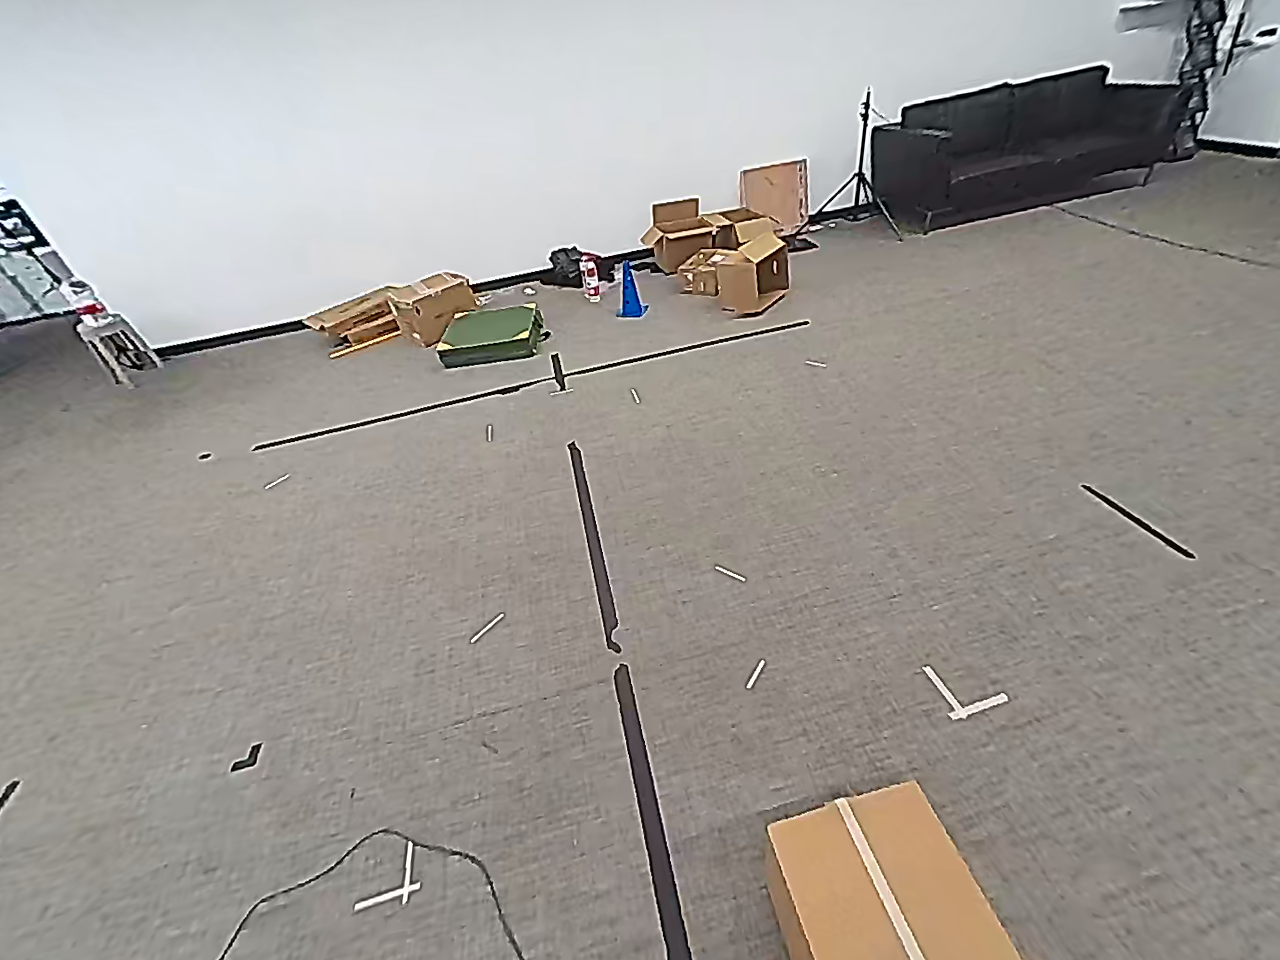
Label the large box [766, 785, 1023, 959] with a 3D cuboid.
[{"bbox_3d":[0.455,0.862,0.985,0.320,0.320,0.408,-14,39,-5],"label":"large box"}]
